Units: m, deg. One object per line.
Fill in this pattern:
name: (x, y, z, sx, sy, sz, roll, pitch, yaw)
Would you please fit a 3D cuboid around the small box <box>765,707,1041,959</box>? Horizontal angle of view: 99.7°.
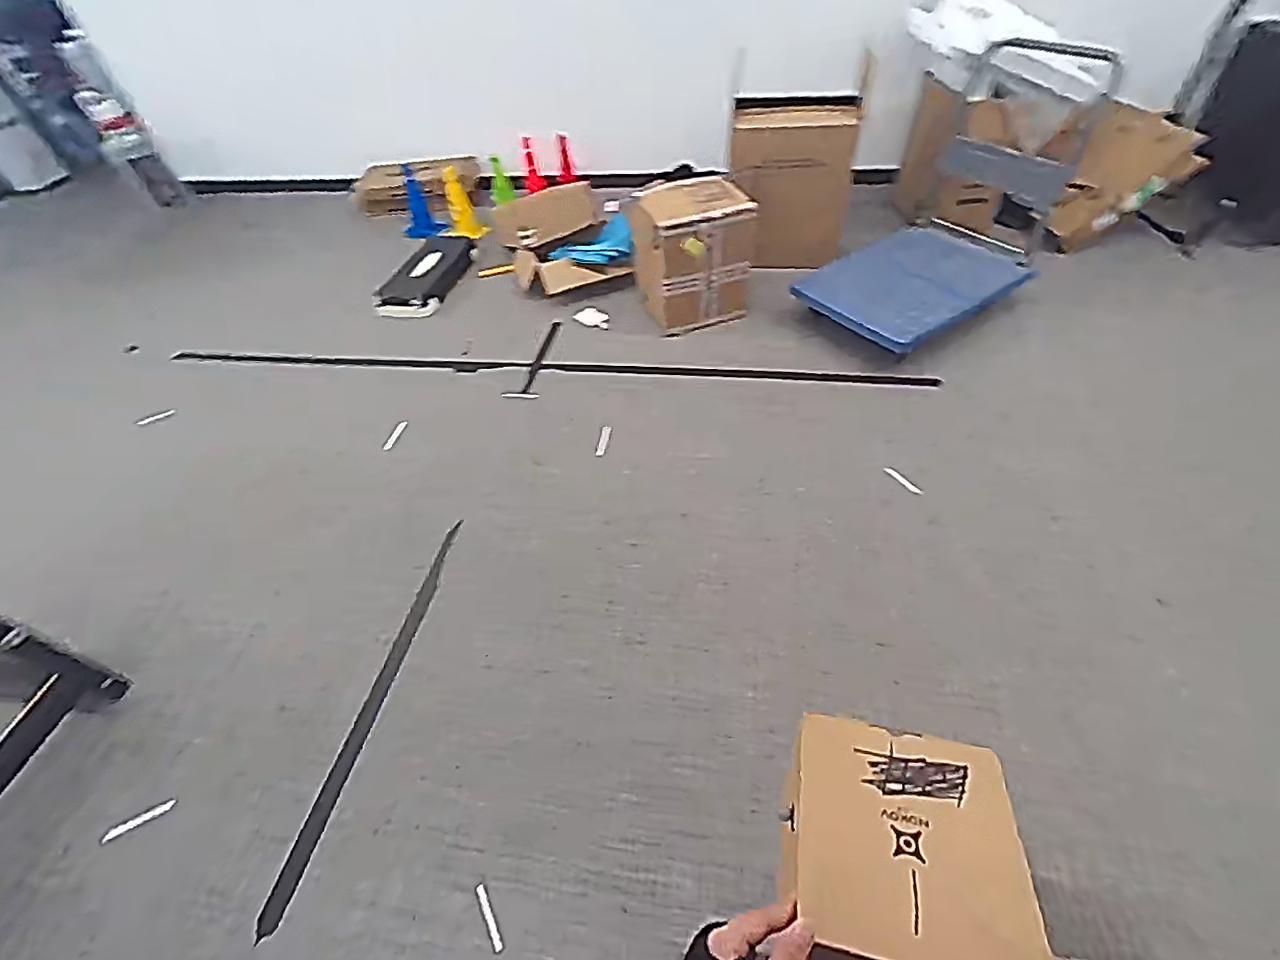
small box: (0.203, 0.337, 0.470, 0.168, 0.176, 0.179, 6, 36, 13)
